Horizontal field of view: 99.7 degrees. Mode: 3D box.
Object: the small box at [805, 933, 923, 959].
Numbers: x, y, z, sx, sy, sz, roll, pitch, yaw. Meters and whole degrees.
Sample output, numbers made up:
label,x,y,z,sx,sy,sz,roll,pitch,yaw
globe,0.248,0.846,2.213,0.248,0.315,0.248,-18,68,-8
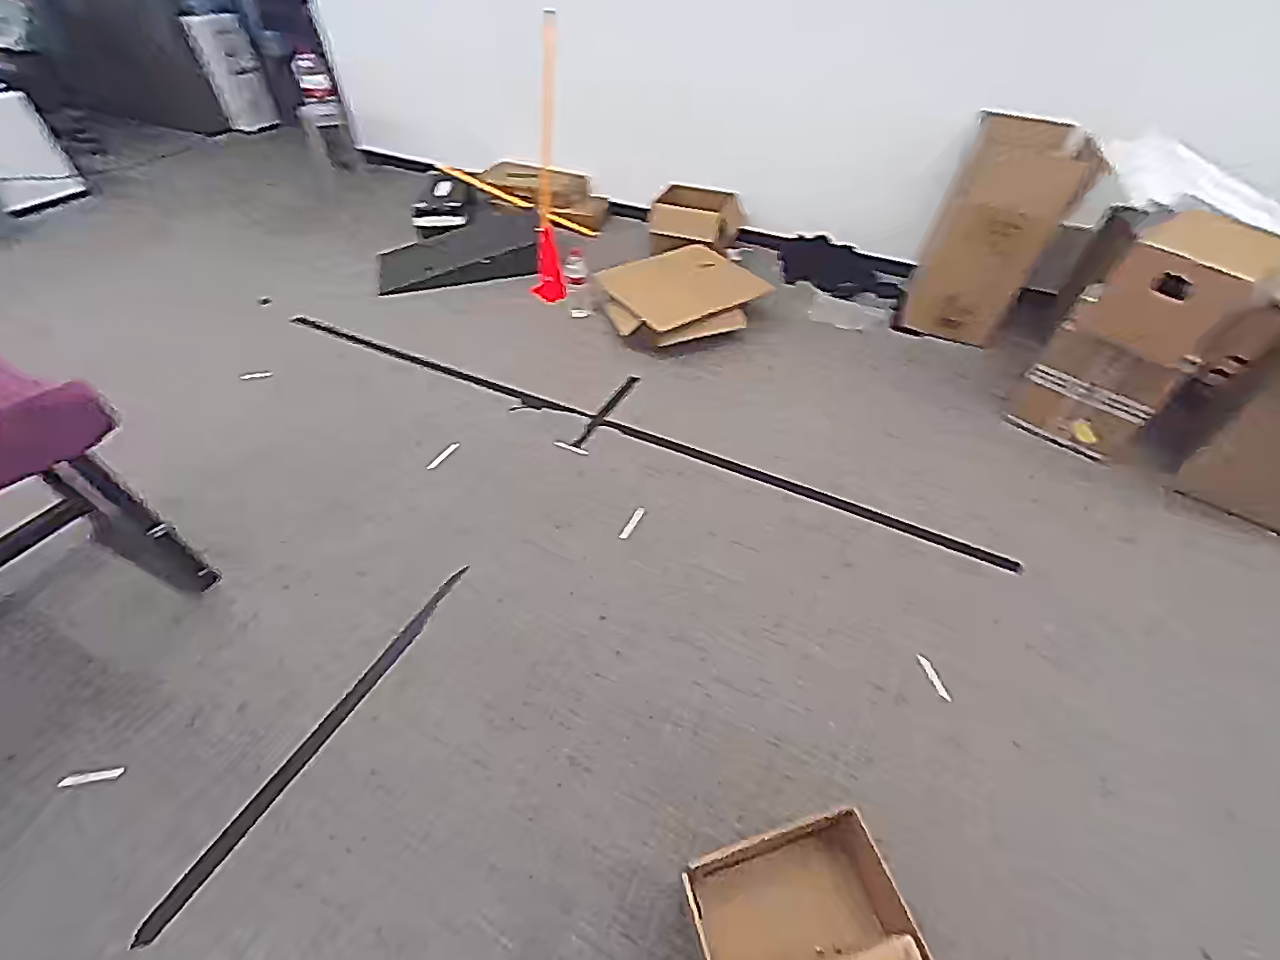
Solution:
label,x,y,z,sx,sy,sz,roll,pitch,yaw
small box,0.367,0.851,0.858,0.179,0.176,0.168,-9,49,-9
